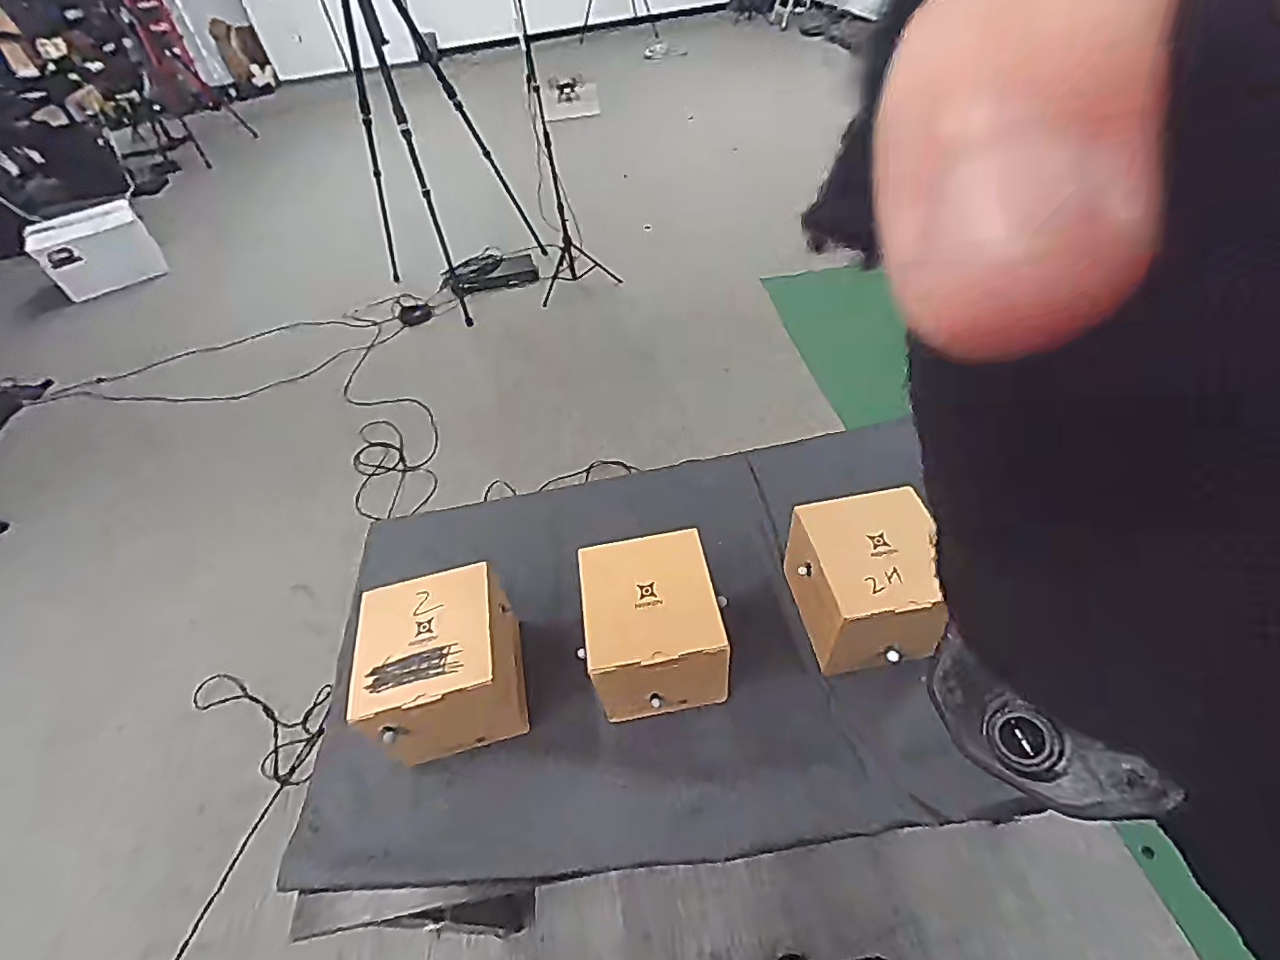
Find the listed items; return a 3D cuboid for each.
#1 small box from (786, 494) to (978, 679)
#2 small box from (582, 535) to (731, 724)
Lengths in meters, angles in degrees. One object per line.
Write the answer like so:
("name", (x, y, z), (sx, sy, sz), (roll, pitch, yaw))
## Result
("small box", (0.310, 0.147, 0.743), (0.168, 0.176, 0.179), (-10, 48, -2))
("small box", (0.017, 0.202, 0.730), (0.168, 0.176, 0.179), (-10, 48, -3))
